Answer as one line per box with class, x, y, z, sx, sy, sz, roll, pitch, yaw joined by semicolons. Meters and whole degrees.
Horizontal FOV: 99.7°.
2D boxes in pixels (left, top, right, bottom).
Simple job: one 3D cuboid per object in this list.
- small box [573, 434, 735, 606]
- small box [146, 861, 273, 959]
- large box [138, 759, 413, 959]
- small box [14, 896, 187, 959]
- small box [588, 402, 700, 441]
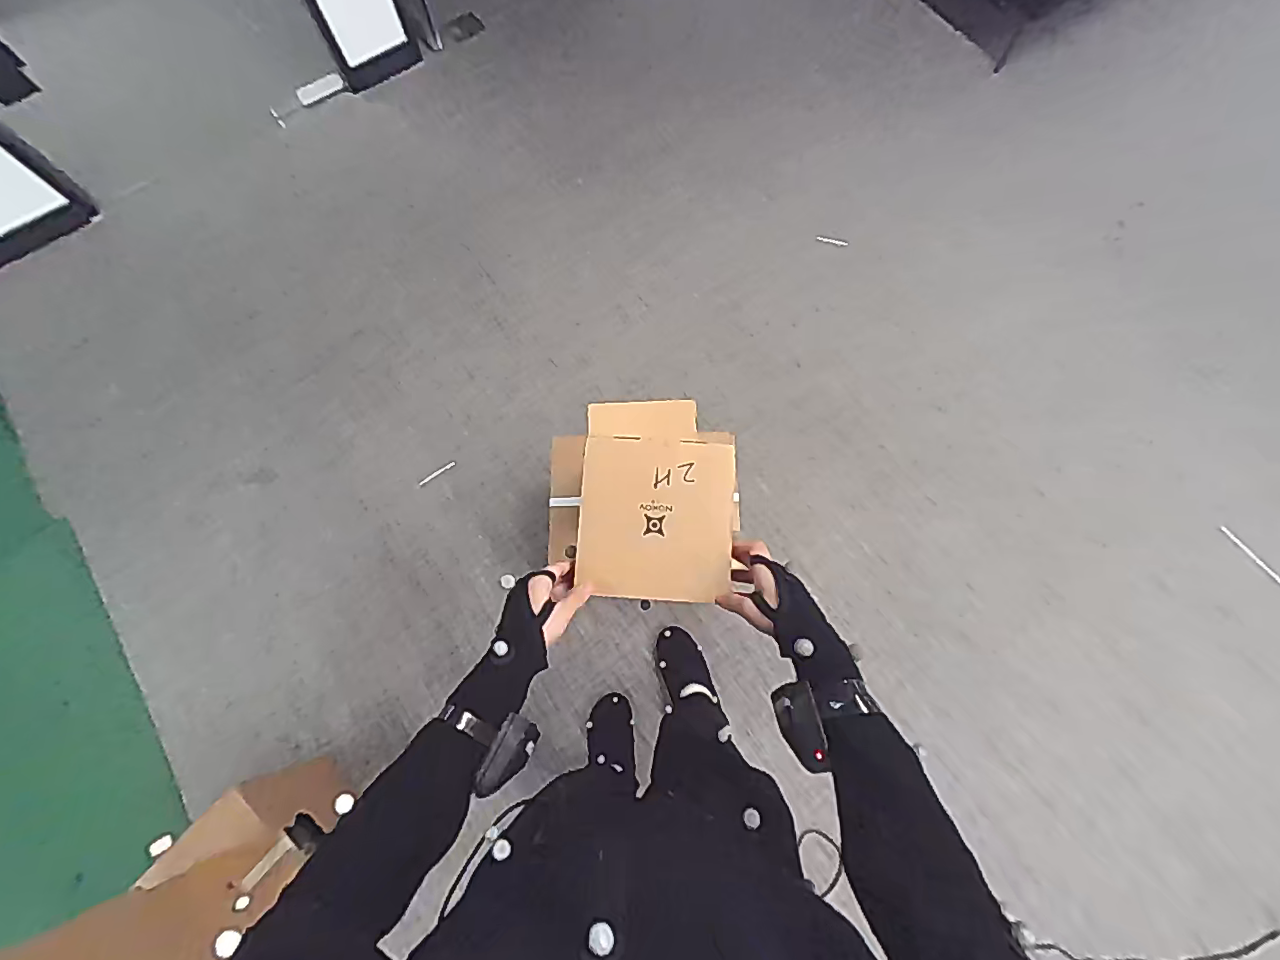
small box;0.018;0.054;0.655;0.168;0.176;0.179;4;79;1
small box;-0.735;0.756;0.845;0.168;0.176;0.179;43;77;12
large box;-0.749;0.852;1.072;0.320;0.320;0.408;39;78;13
small box;-0.733;0.695;0.693;0.168;0.176;0.179;-43;77;-12
small box;0.009;-0.018;0.916;0.179;0.176;0.168;-3;72;-1
